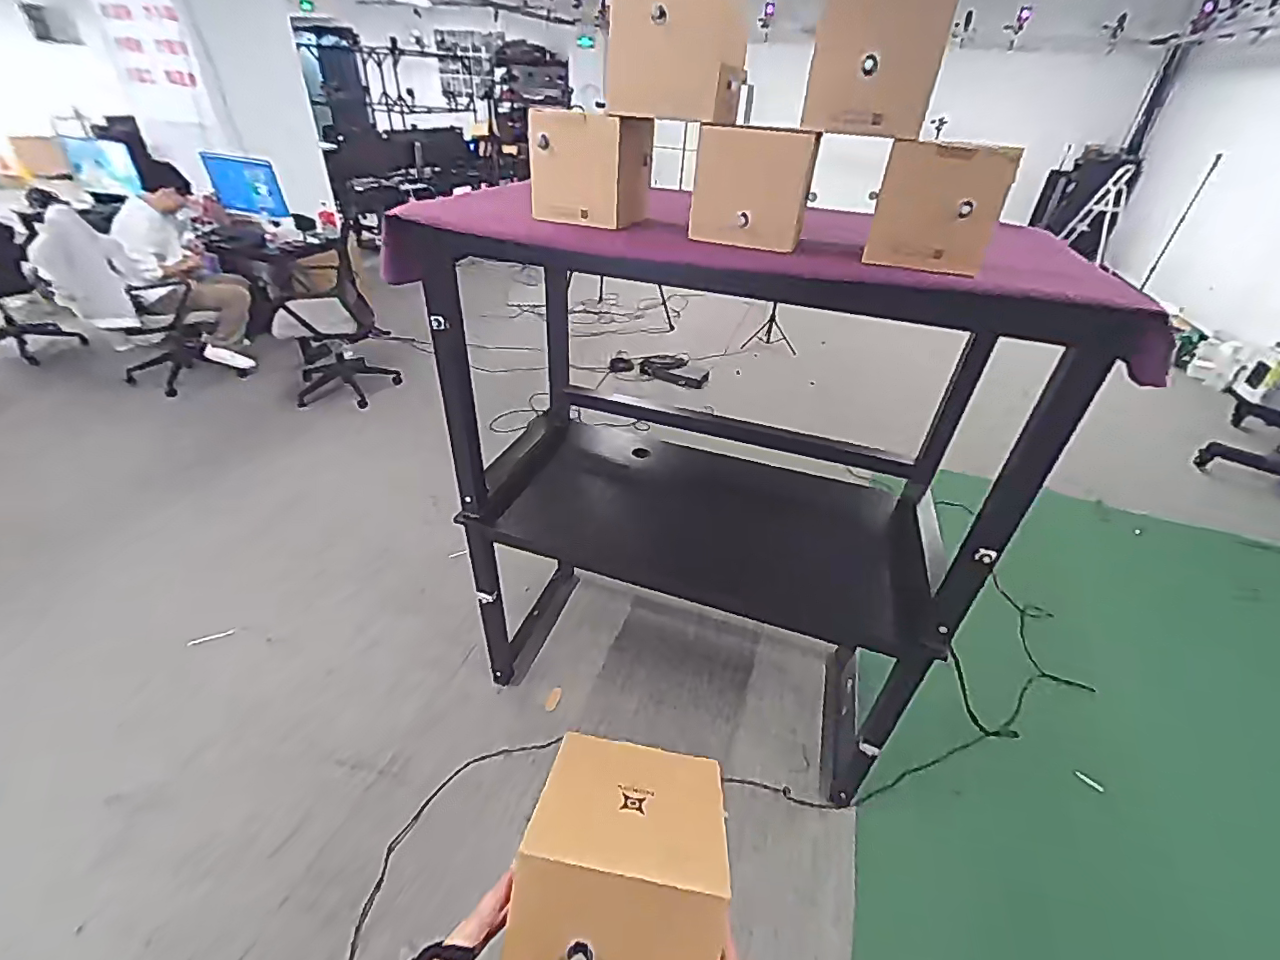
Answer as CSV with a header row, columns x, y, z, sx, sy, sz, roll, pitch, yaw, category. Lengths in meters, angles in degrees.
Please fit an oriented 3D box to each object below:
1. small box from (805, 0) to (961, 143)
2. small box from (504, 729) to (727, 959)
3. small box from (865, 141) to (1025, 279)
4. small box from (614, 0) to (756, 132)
x,y,z,sx,sy,sz,roll,pitch,yaw,category
0.345,-0.589,0.779,0.168,0.176,0.179,17,36,17,small box
-0.018,0.362,0.490,0.168,0.176,0.179,9,4,4,small box
0.459,-0.420,0.837,0.168,0.176,0.179,16,36,17,small box
0.067,-0.656,0.847,0.179,0.176,0.168,16,36,15,small box
